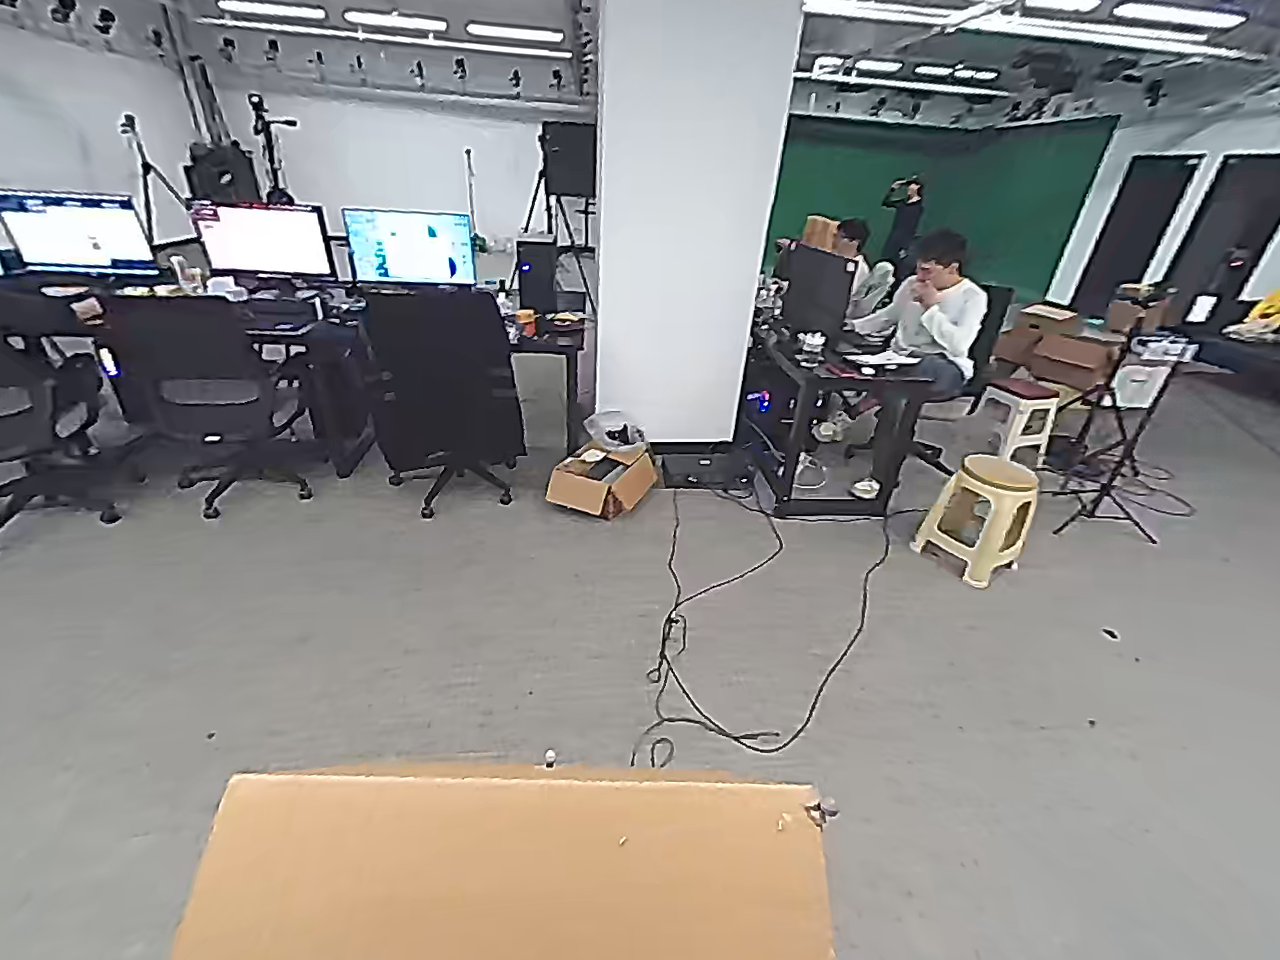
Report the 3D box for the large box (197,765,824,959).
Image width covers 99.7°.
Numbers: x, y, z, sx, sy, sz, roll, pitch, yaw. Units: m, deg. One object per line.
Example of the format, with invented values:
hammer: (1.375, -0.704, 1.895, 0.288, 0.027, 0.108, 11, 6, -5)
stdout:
large box: (-0.092, 0.418, 0.456, 0.408, 0.320, 0.320, 3, 65, -5)
